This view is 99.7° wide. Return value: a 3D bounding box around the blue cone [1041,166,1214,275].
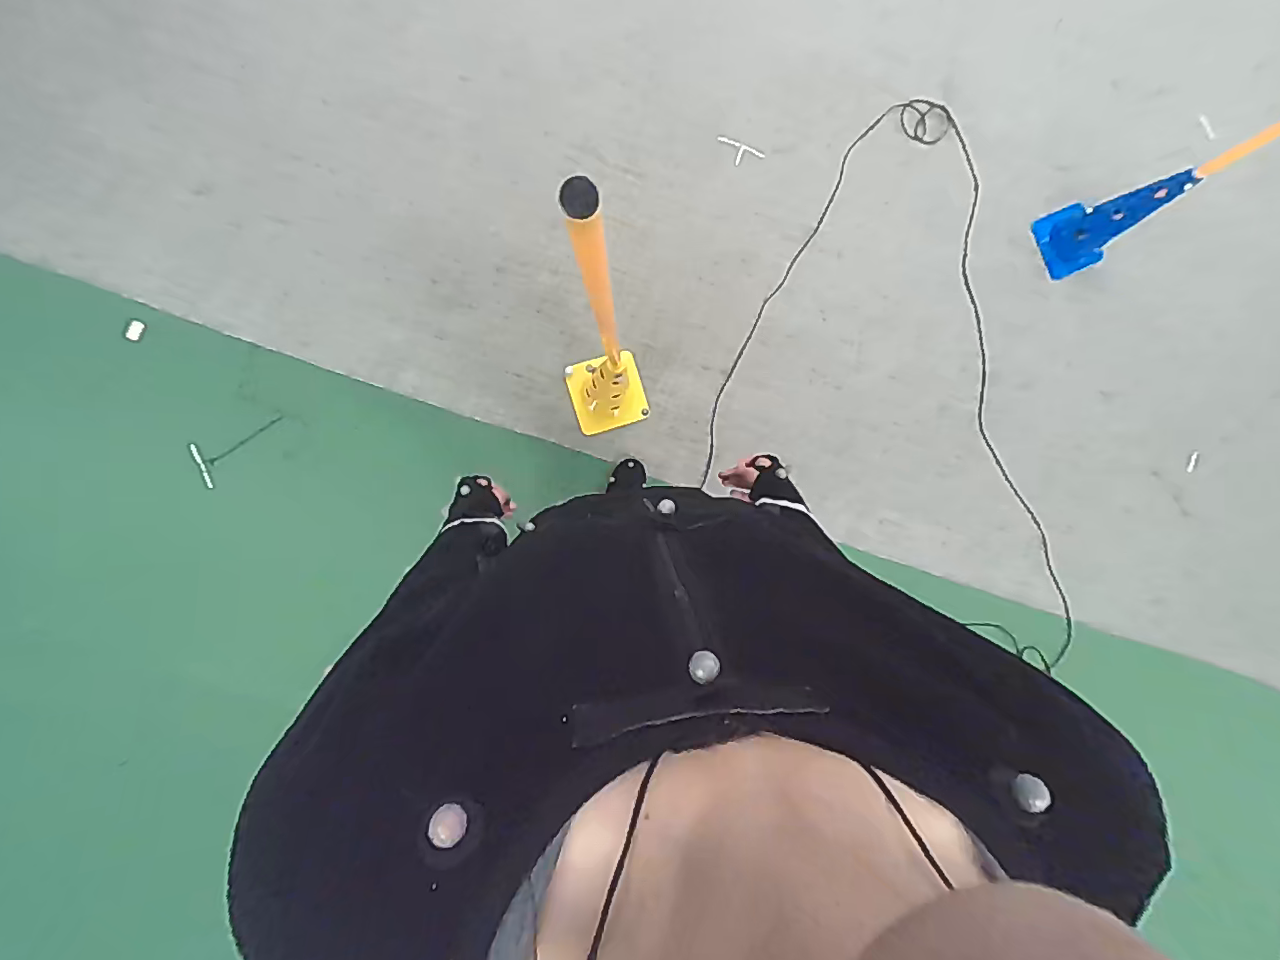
[{"bbox_3d":[1.362,-0.754,1.505,0.193,0.380,0.192,-26,92,-9],"label":"blue cone"}]
